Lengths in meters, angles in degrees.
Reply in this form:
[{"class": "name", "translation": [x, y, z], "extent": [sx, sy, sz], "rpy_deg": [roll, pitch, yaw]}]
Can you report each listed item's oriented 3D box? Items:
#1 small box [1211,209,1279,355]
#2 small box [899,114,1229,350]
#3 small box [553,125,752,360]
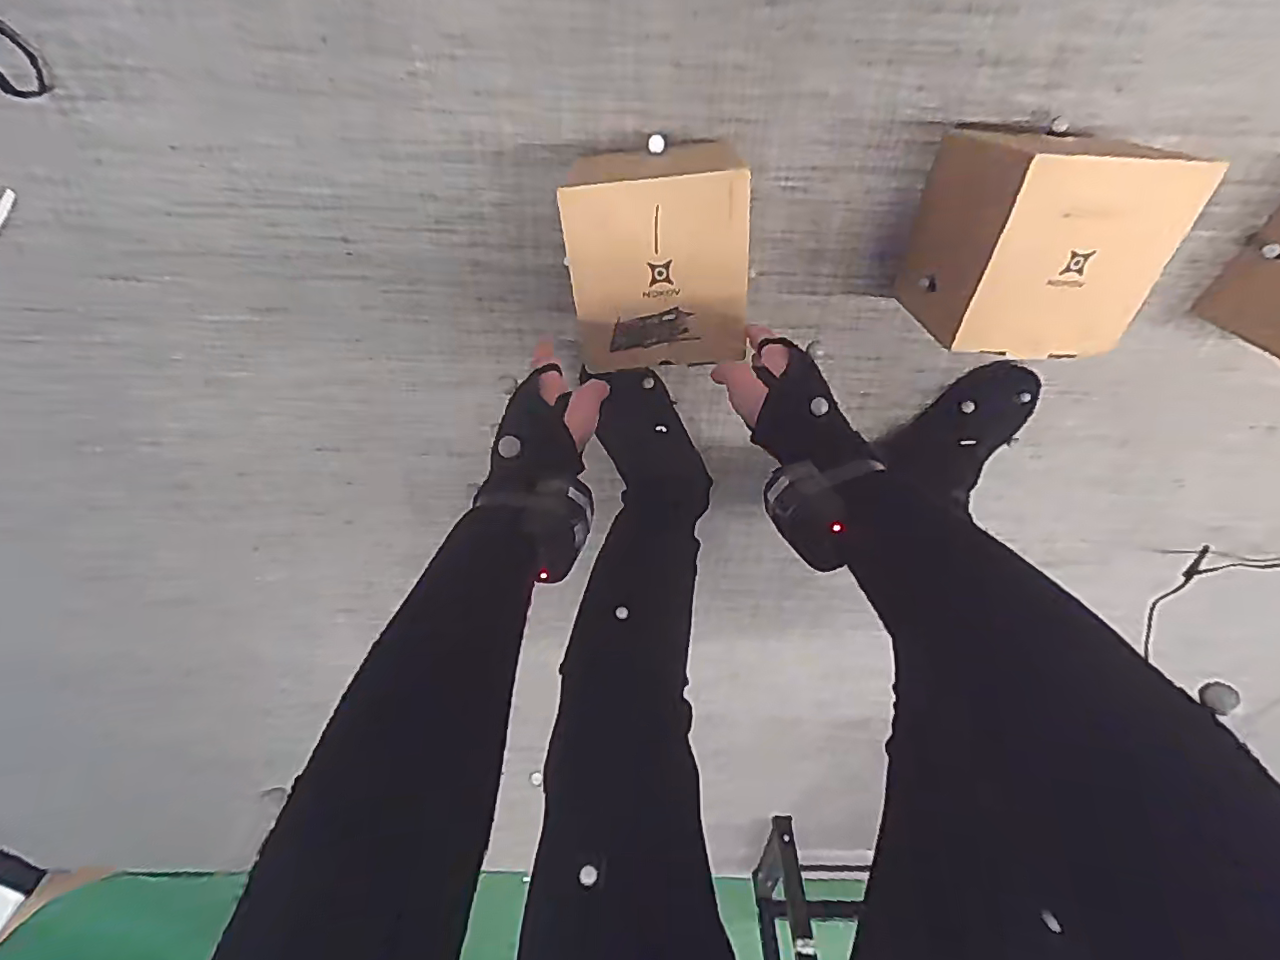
[{"class": "small box", "translation": [0.776, -0.215, 0.564], "extent": [0.168, 0.176, 0.179], "rpy_deg": [10, 131, -7]}, {"class": "small box", "translation": [0.388, -0.250, 0.544], "extent": [0.168, 0.176, 0.179], "rpy_deg": [2, 129, -2]}, {"class": "small box", "translation": [0.017, -0.243, 0.553], "extent": [0.168, 0.176, 0.179], "rpy_deg": [-3, 129, 3]}]
